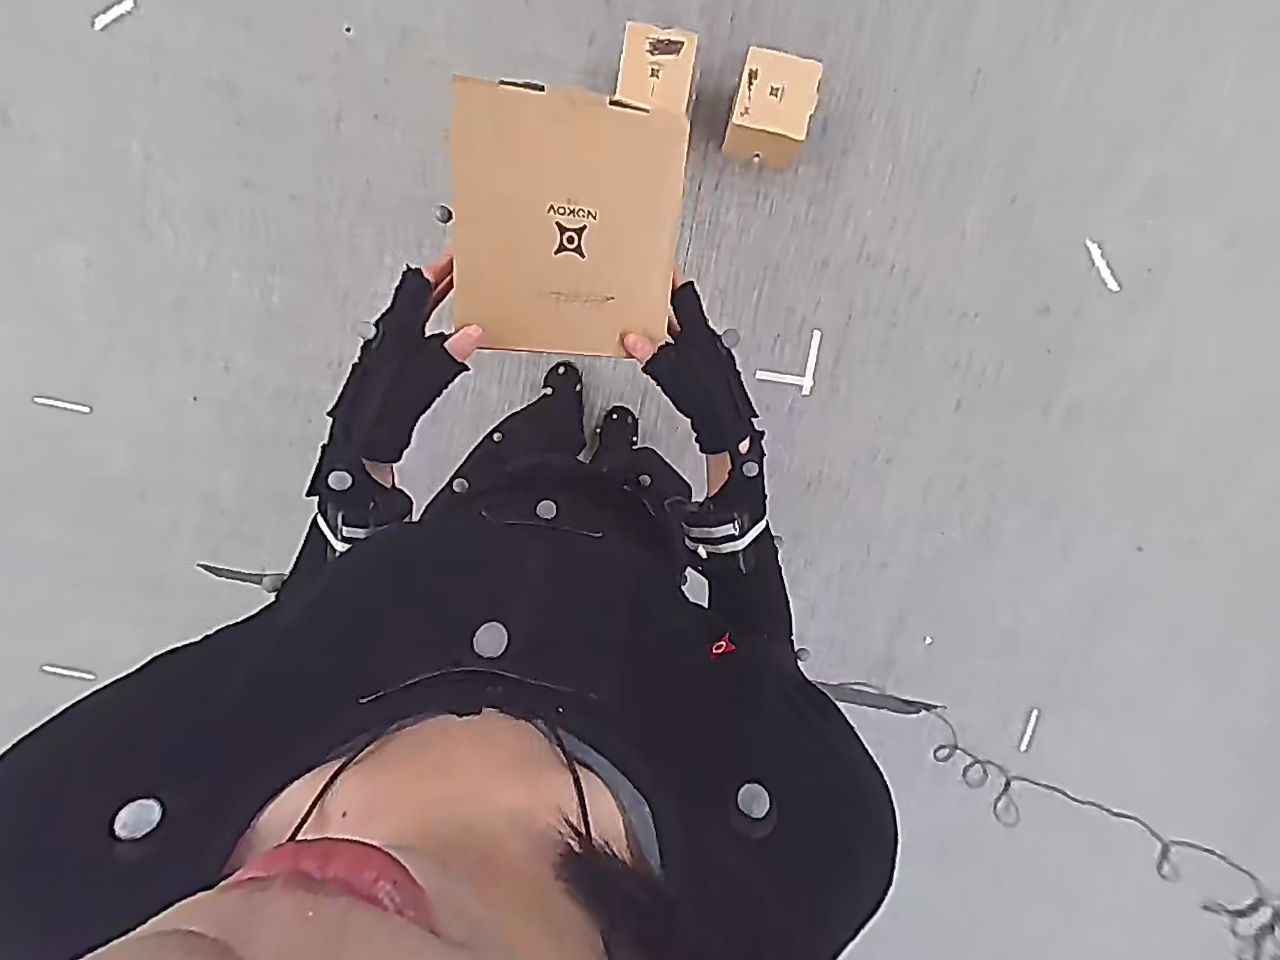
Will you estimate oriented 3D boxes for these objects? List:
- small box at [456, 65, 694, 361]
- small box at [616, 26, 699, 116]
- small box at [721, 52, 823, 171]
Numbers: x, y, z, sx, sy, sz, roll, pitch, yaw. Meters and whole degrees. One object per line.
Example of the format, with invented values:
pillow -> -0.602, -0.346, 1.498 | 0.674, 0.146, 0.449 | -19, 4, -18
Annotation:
small box -> -0.069, -0.208, 0.464 | 0.168, 0.176, 0.179 | 1, 111, -16
small box -> 0.037, -0.925, 1.296 | 0.168, 0.176, 0.179 | 10, 99, 0
small box -> 0.308, -0.874, 1.302 | 0.179, 0.176, 0.168 | 13, 99, -2
